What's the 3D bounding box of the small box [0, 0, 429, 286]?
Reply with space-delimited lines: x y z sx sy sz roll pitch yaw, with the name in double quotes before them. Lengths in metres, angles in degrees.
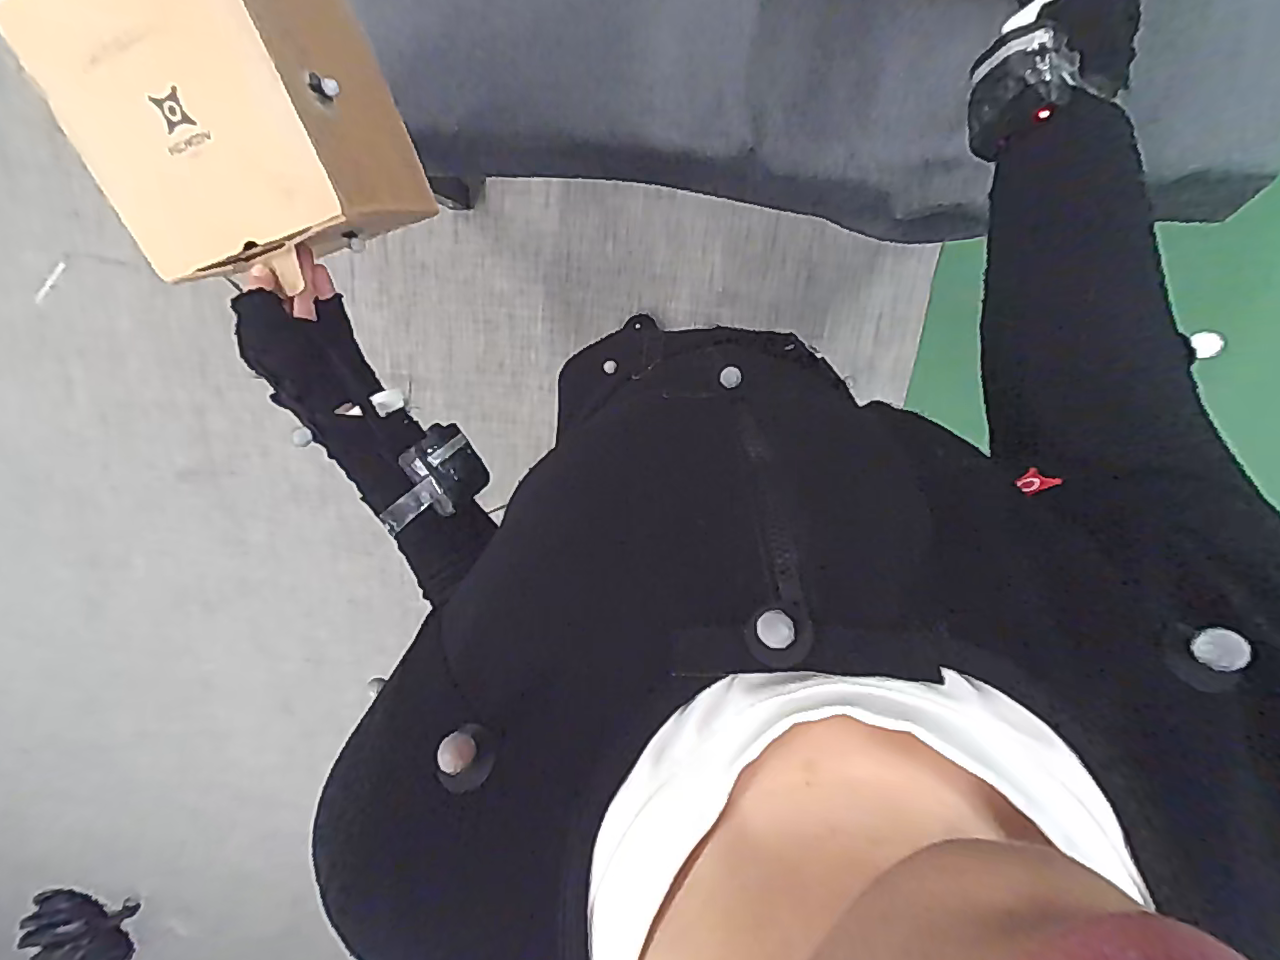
"small box" -0.300 -0.273 0.426 0.168 0.176 0.179 -14 114 11
